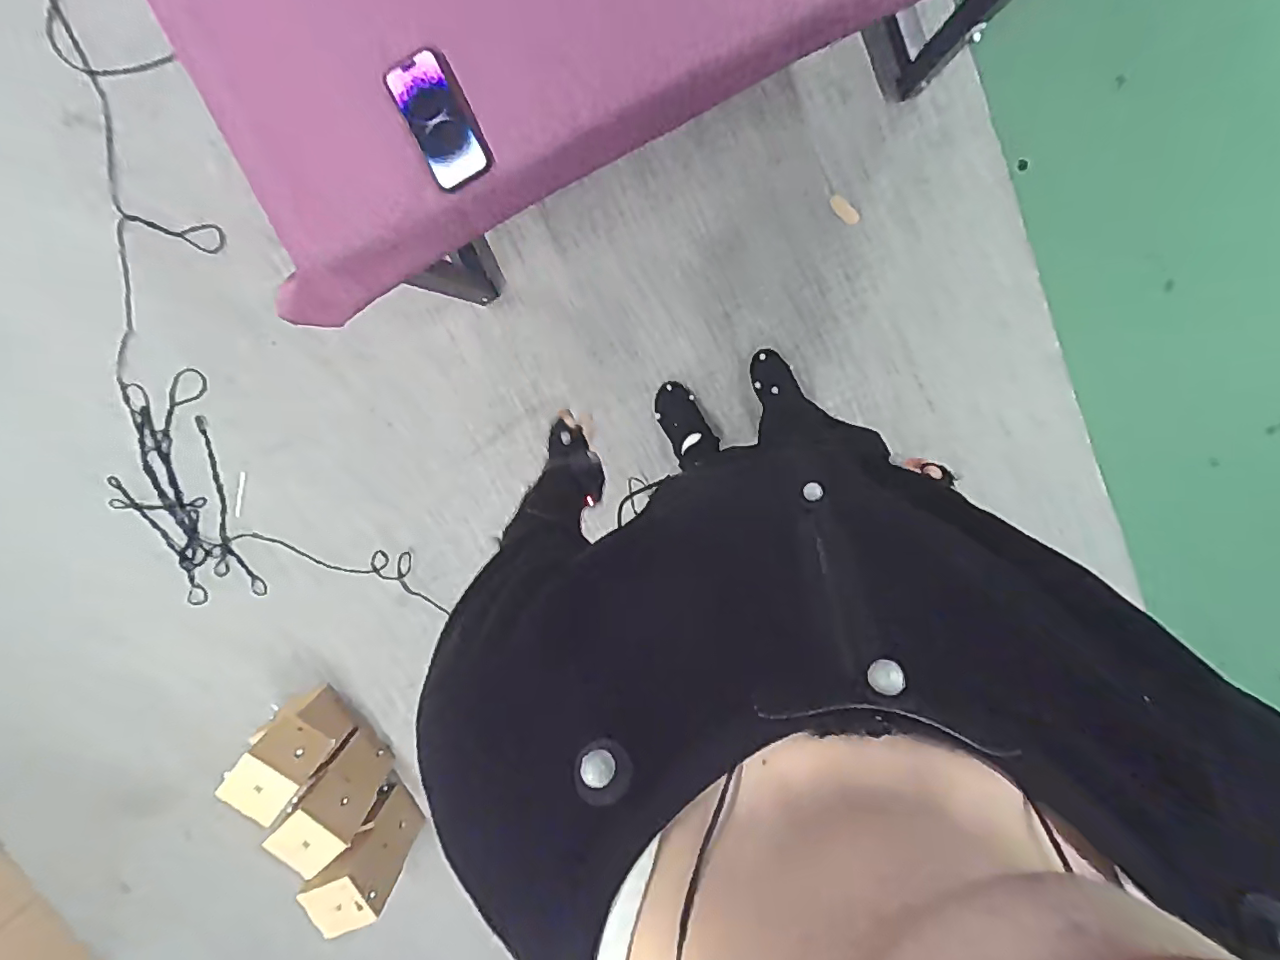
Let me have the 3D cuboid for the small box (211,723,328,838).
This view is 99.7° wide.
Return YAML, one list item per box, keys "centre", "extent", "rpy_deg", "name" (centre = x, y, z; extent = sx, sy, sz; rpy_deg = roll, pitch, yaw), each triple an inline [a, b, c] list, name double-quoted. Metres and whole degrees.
- centre: [-0.986, 0.803, 1.461]
  extent: [0.168, 0.176, 0.179]
  rpy_deg: [39, 102, -6]
  name: "small box"

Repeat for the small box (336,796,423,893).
- centre: [-0.822, 1.132, 1.697]
  extent: [0.168, 0.176, 0.179]
  rpy_deg: [-25, 101, 8]
  name: "small box"

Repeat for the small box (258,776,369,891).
- centre: [-0.888, 0.970, 1.497]
  extent: [0.179, 0.176, 0.168]
  rpy_deg: [-43, 98, 11]
  name: "small box"
